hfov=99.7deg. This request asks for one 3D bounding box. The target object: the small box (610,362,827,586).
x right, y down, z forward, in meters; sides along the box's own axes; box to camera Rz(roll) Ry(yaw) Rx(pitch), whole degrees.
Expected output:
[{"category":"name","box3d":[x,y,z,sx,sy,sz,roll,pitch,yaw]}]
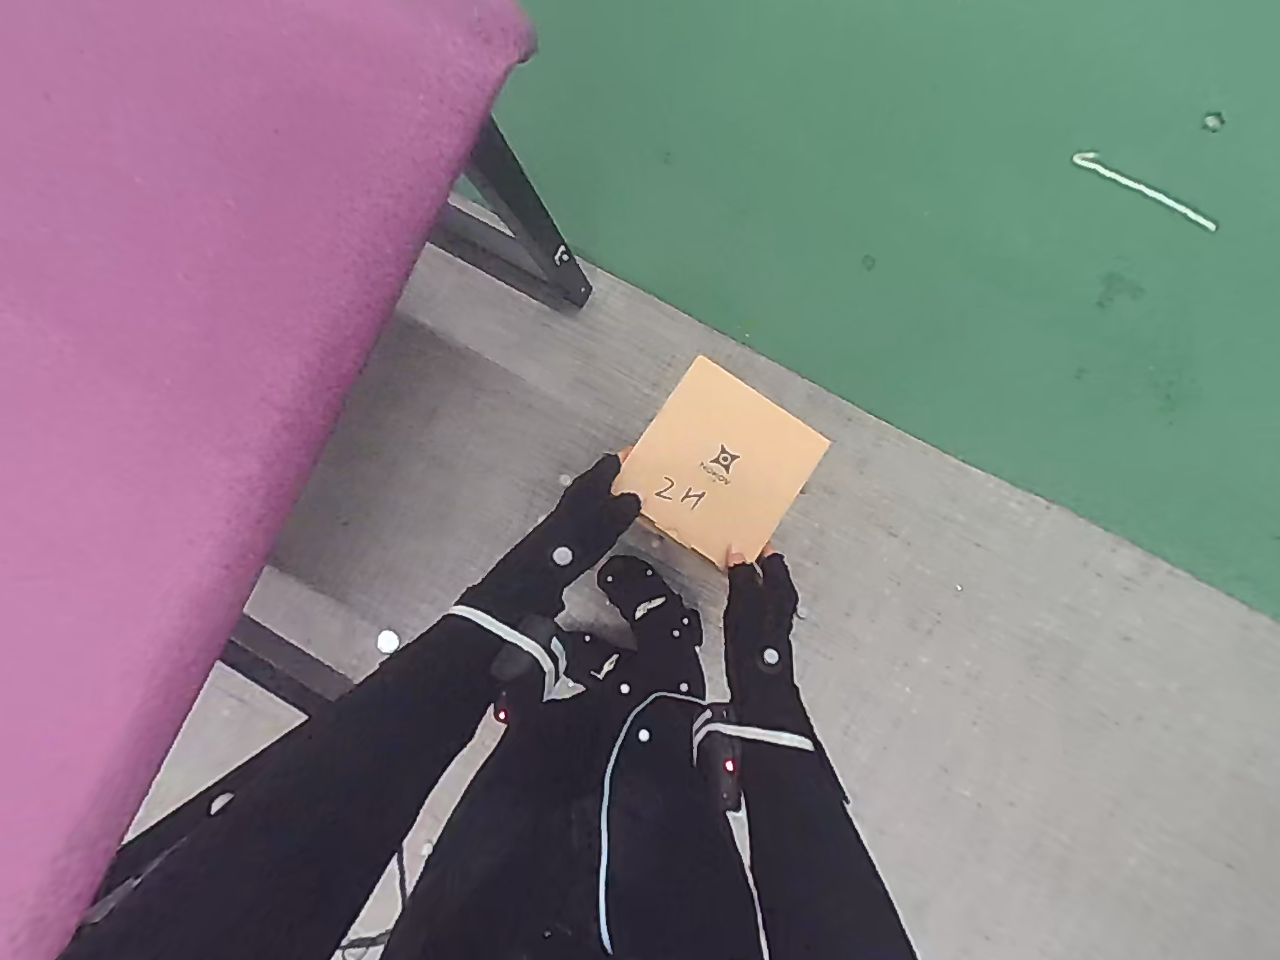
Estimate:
[{"category":"small box","box3d":[0.076,-0.001,0.630,0.168,0.176,0.179,36,83,1]}]
